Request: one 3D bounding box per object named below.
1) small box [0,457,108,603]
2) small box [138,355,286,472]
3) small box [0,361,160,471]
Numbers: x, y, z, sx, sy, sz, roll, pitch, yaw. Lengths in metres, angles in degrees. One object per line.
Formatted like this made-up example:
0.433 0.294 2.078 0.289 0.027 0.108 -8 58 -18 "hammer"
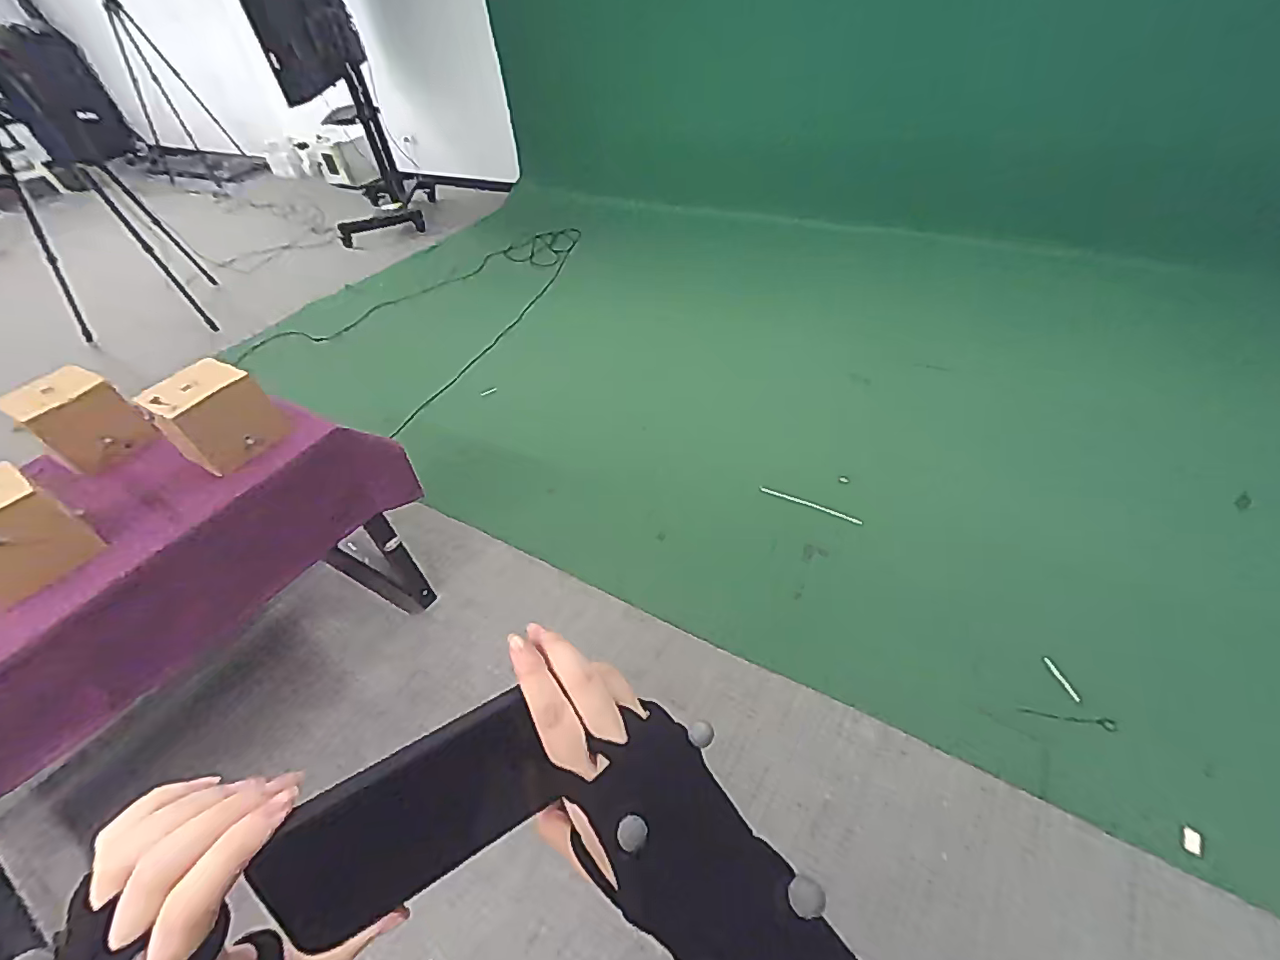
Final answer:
-1.161 0.093 0.997 0.168 0.176 0.179 24 52 27 "small box"
-0.938 -0.148 1.208 0.168 0.176 0.179 20 51 25 "small box"
-1.282 -0.146 1.246 0.179 0.176 0.168 19 51 23 "small box"
